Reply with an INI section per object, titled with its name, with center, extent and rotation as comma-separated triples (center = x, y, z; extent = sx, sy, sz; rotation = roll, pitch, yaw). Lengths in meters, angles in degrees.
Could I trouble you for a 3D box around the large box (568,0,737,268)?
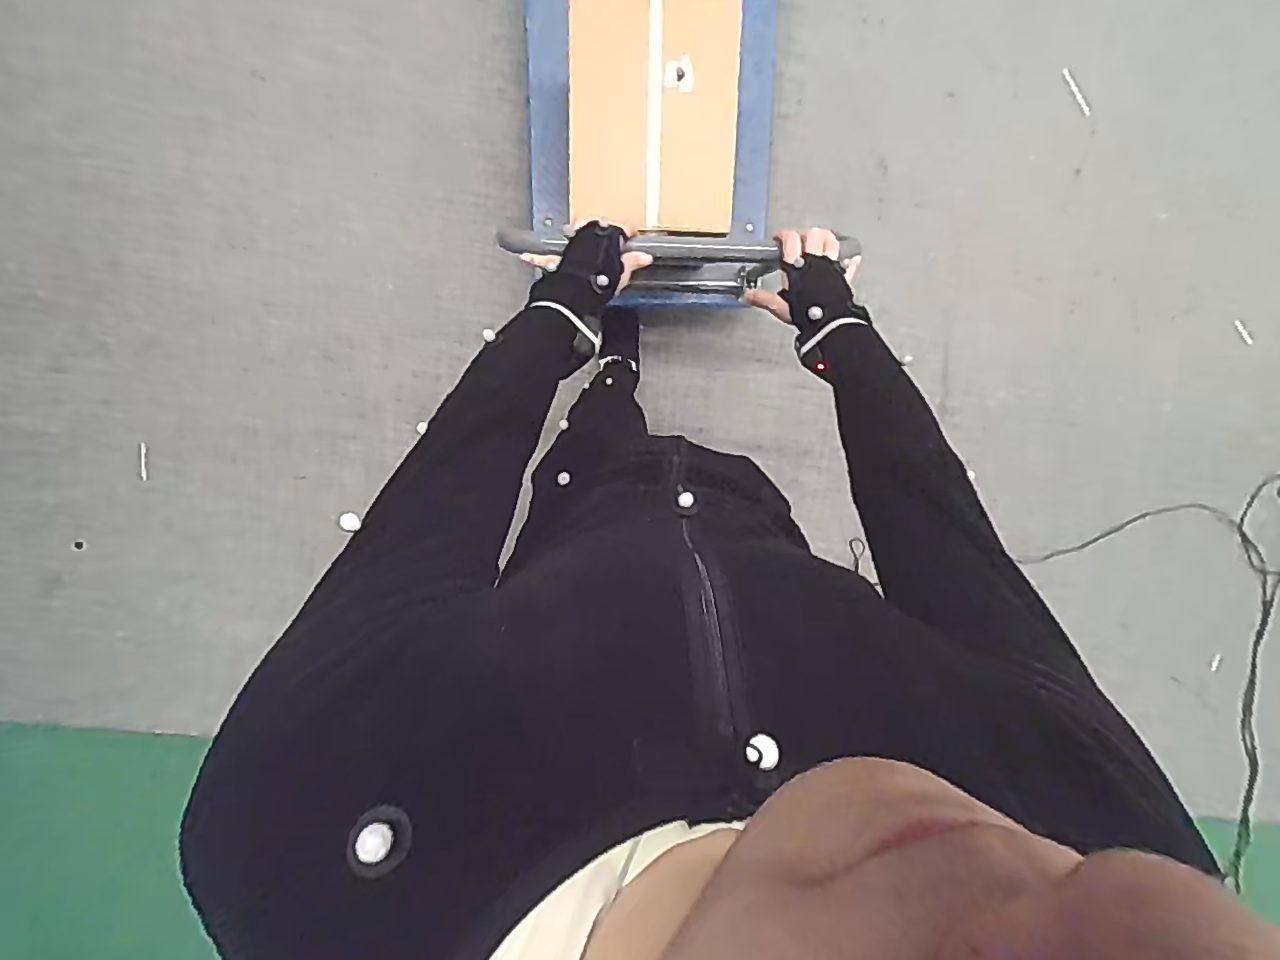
[large box]
center = 0.020, -0.695, 1.156
extent = 0.320, 0.320, 0.408
rotation = 0, 99, -3
